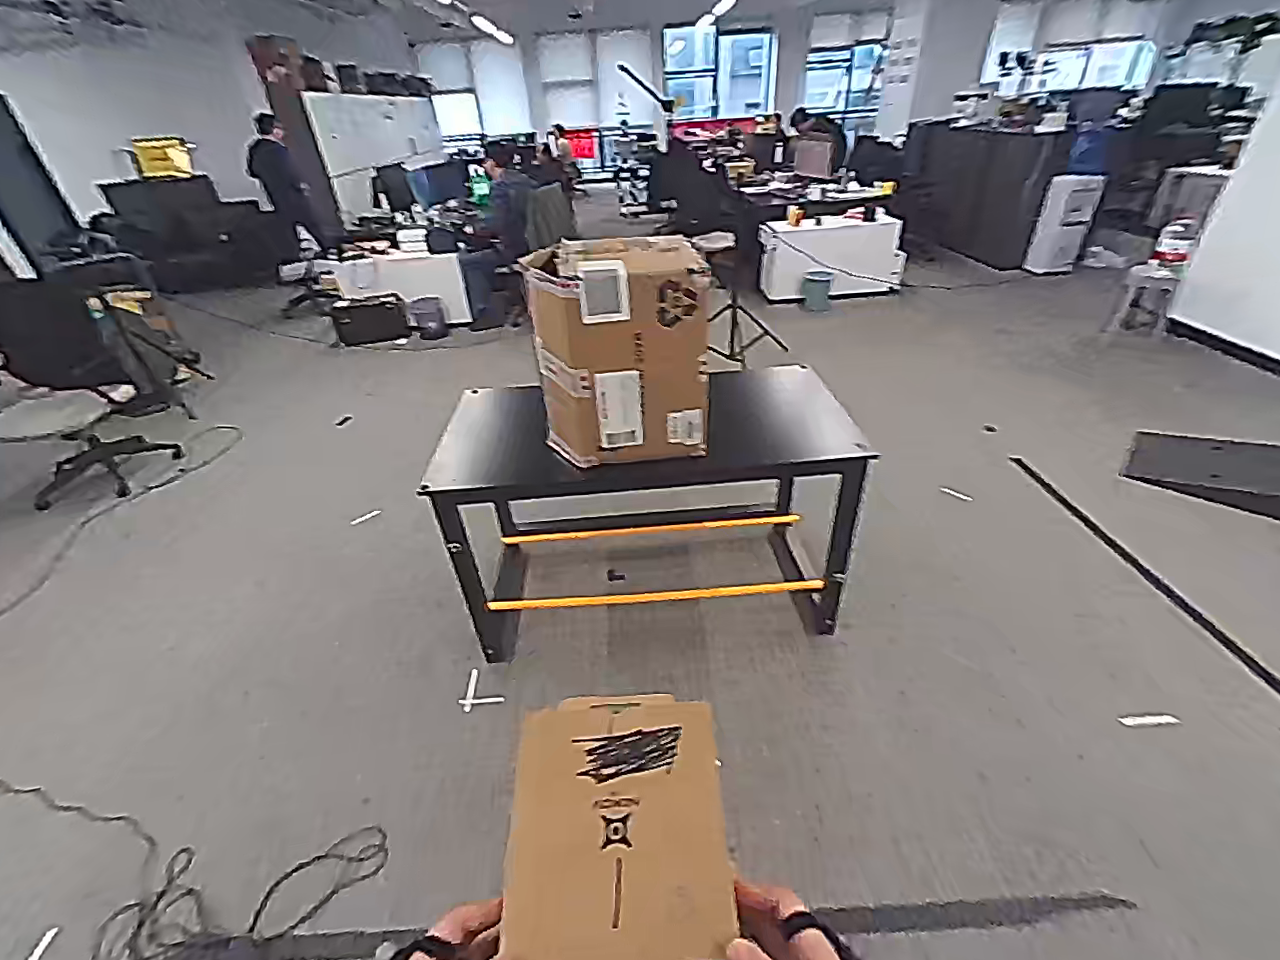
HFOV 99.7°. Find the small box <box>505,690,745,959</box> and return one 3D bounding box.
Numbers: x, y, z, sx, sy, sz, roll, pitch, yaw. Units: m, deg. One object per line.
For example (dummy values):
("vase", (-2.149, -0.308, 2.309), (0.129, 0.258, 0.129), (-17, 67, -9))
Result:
("small box", (-0.010, 0.309, 0.478), (0.168, 0.176, 0.179), (-4, 46, 0))
